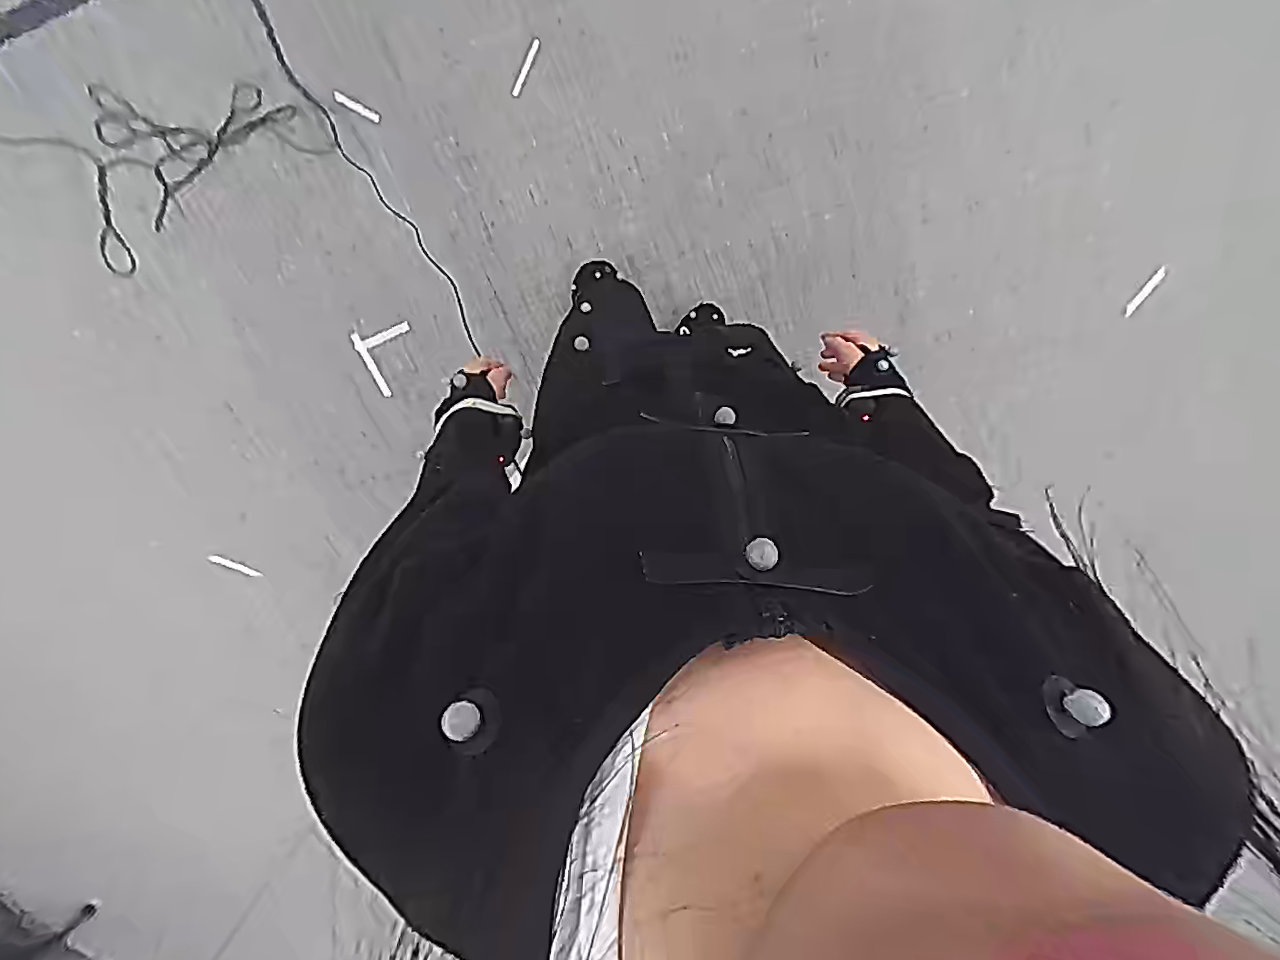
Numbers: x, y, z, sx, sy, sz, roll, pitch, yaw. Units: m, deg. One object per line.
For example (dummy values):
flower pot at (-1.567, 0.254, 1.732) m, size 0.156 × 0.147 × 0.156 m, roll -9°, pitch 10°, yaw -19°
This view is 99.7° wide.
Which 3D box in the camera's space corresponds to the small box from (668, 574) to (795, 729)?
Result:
small box at (0.146, 0.276, 0.909) m, size 0.168 × 0.176 × 0.179 m, roll -14°, pitch 109°, yaw 6°
